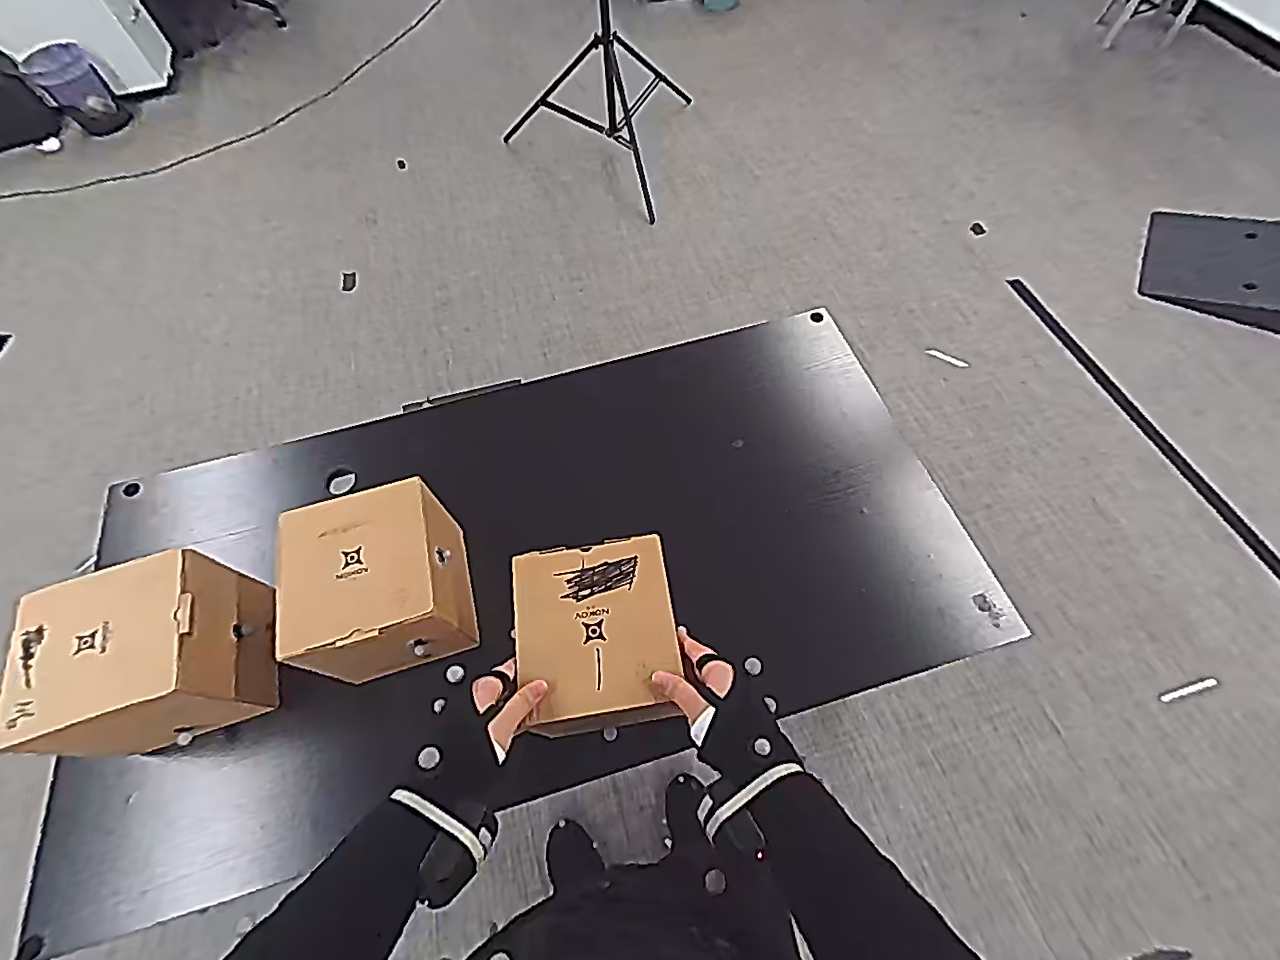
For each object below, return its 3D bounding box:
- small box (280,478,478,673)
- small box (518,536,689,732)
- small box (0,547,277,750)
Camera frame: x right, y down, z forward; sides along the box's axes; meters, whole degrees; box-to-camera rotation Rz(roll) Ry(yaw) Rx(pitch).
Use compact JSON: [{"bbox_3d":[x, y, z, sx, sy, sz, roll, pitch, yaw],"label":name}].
[{"bbox_3d":[-0.313,0.128,0.673,0.168,0.176,0.179,-16,62,-8],"label":"small box"},{"bbox_3d":[-0.042,0.184,0.629,0.168,0.176,0.179,-8,63,-2],"label":"small box"},{"bbox_3d":[-0.562,0.204,0.639,0.179,0.176,0.168,-17,62,-8],"label":"small box"}]
